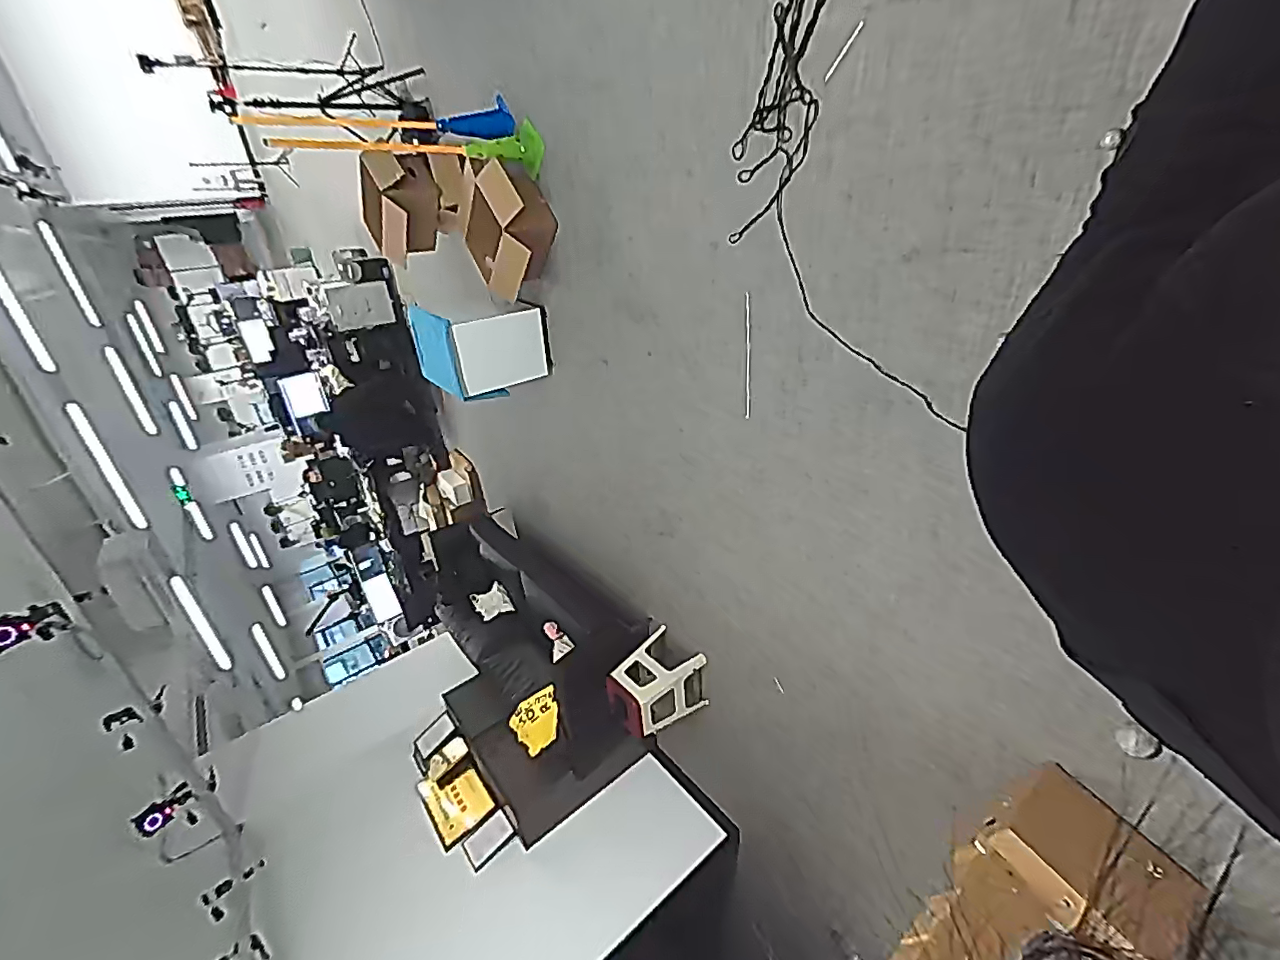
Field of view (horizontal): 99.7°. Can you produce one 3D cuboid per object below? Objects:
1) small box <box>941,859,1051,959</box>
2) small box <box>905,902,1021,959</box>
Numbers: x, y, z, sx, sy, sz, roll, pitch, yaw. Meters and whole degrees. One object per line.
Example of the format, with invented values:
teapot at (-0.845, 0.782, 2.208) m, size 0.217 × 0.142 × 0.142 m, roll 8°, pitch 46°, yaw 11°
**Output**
small box at (0.971, 1.189, 1.479) m, size 0.168 × 0.176 × 0.179 m, roll 44°, pitch 143°, yaw 32°
small box at (0.838, 1.239, 1.401) m, size 0.179 × 0.176 × 0.168 m, roll 44°, pitch 143°, yaw 31°
